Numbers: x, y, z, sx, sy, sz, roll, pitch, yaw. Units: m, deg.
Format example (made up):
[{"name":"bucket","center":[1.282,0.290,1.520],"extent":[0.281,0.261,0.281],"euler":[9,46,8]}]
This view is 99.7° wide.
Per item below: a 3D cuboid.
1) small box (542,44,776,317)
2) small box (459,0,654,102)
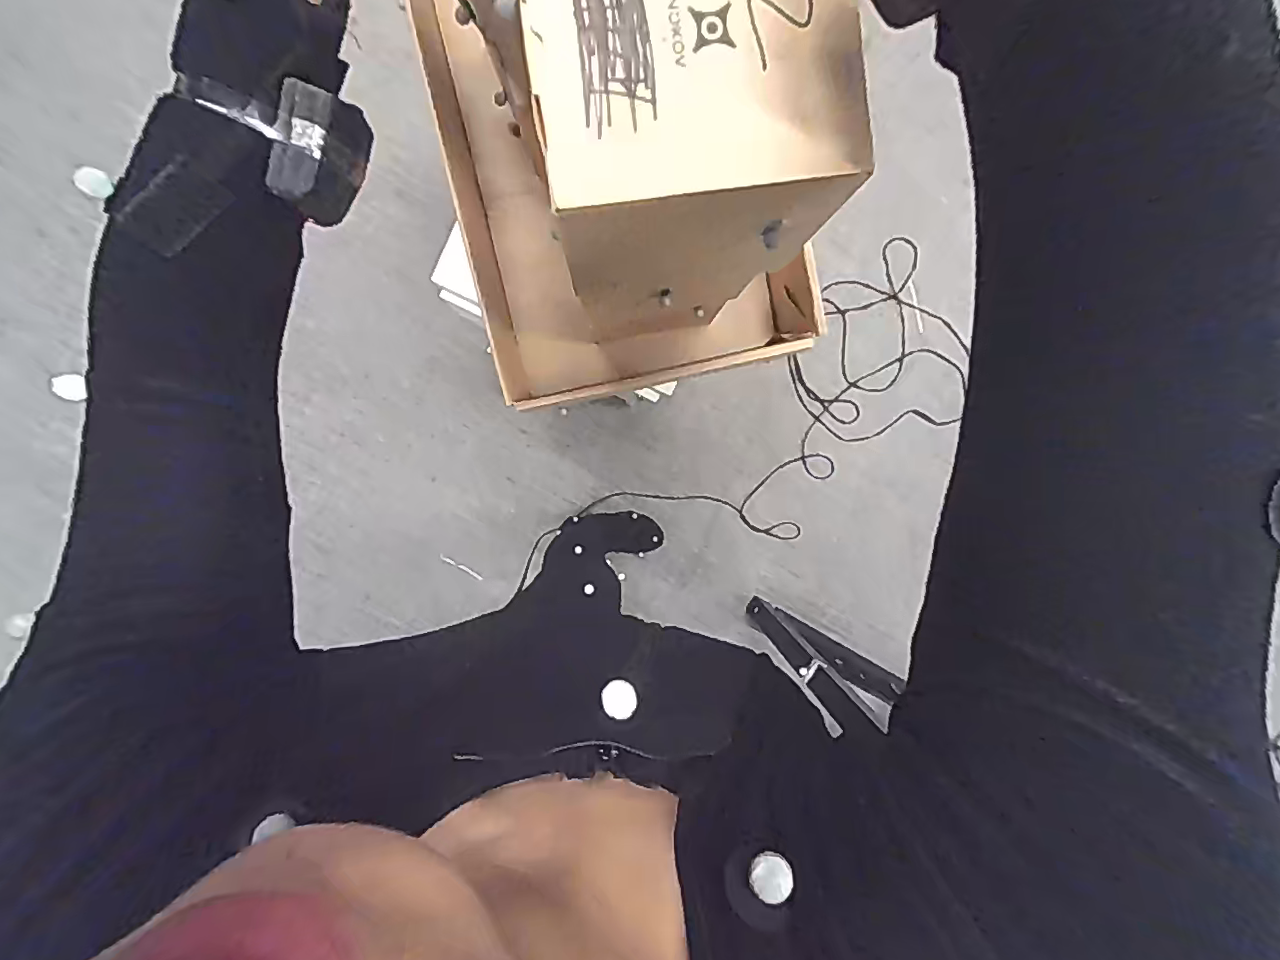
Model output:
[{"name":"small box","center":[0.014,-0.270,0.528],"extent":[0.179,0.176,0.168],"euler":[-11,94,-1]},{"name":"small box","center":[-0.088,-0.513,0.501],"extent":[0.179,0.176,0.168],"euler":[-38,95,3]}]
